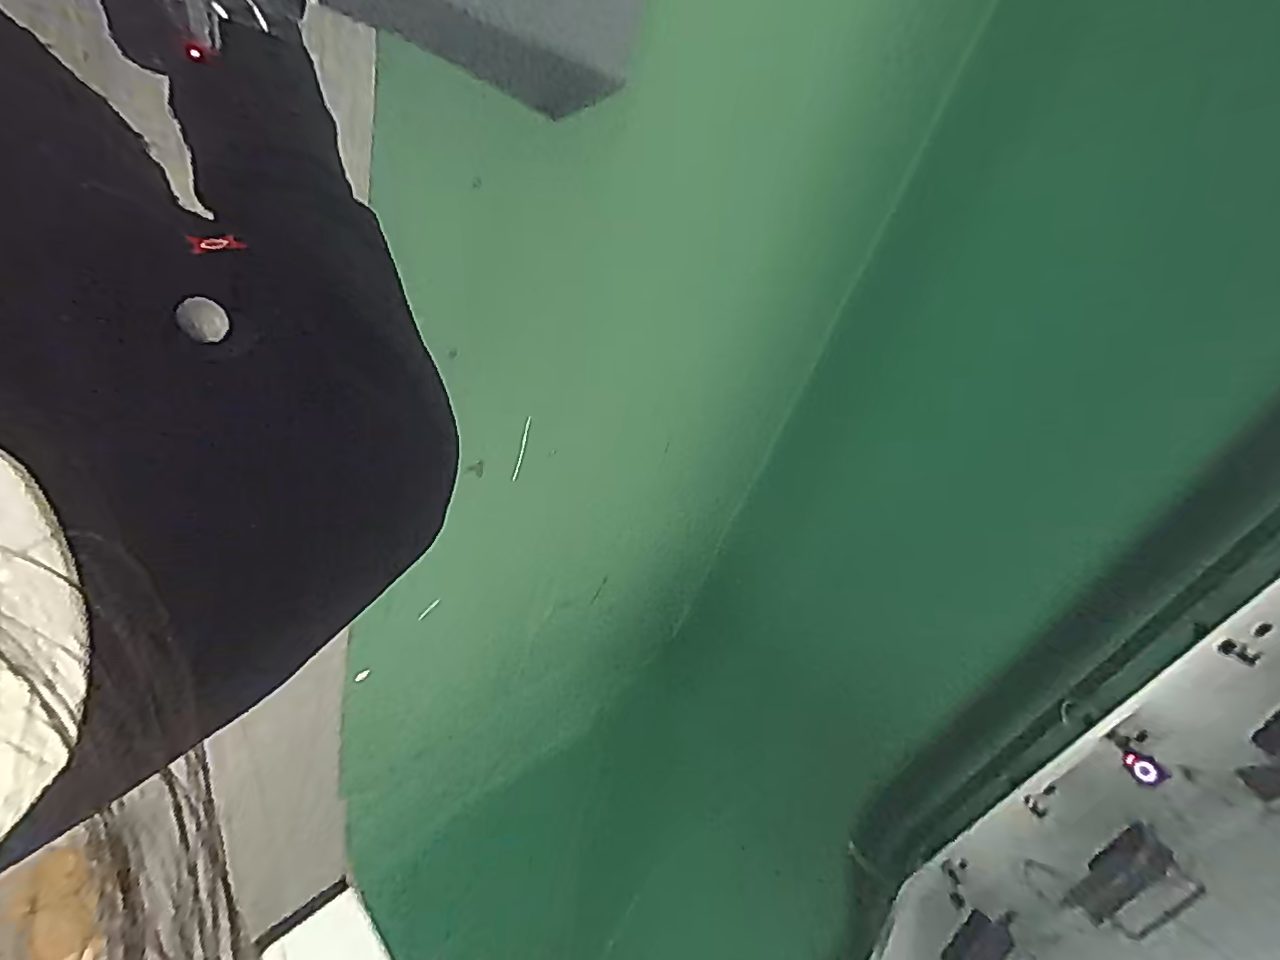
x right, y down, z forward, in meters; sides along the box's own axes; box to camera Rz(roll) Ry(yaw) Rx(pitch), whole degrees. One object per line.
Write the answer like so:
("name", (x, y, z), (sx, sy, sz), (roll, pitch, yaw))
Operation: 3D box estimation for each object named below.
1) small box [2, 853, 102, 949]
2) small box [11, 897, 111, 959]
("small box", (-1.801, 1.305, 1.655), (0.179, 0.176, 0.168), (-20, 138, -48))
("small box", (-1.683, 1.383, 1.573), (0.179, 0.176, 0.168), (-16, 135, -48))
